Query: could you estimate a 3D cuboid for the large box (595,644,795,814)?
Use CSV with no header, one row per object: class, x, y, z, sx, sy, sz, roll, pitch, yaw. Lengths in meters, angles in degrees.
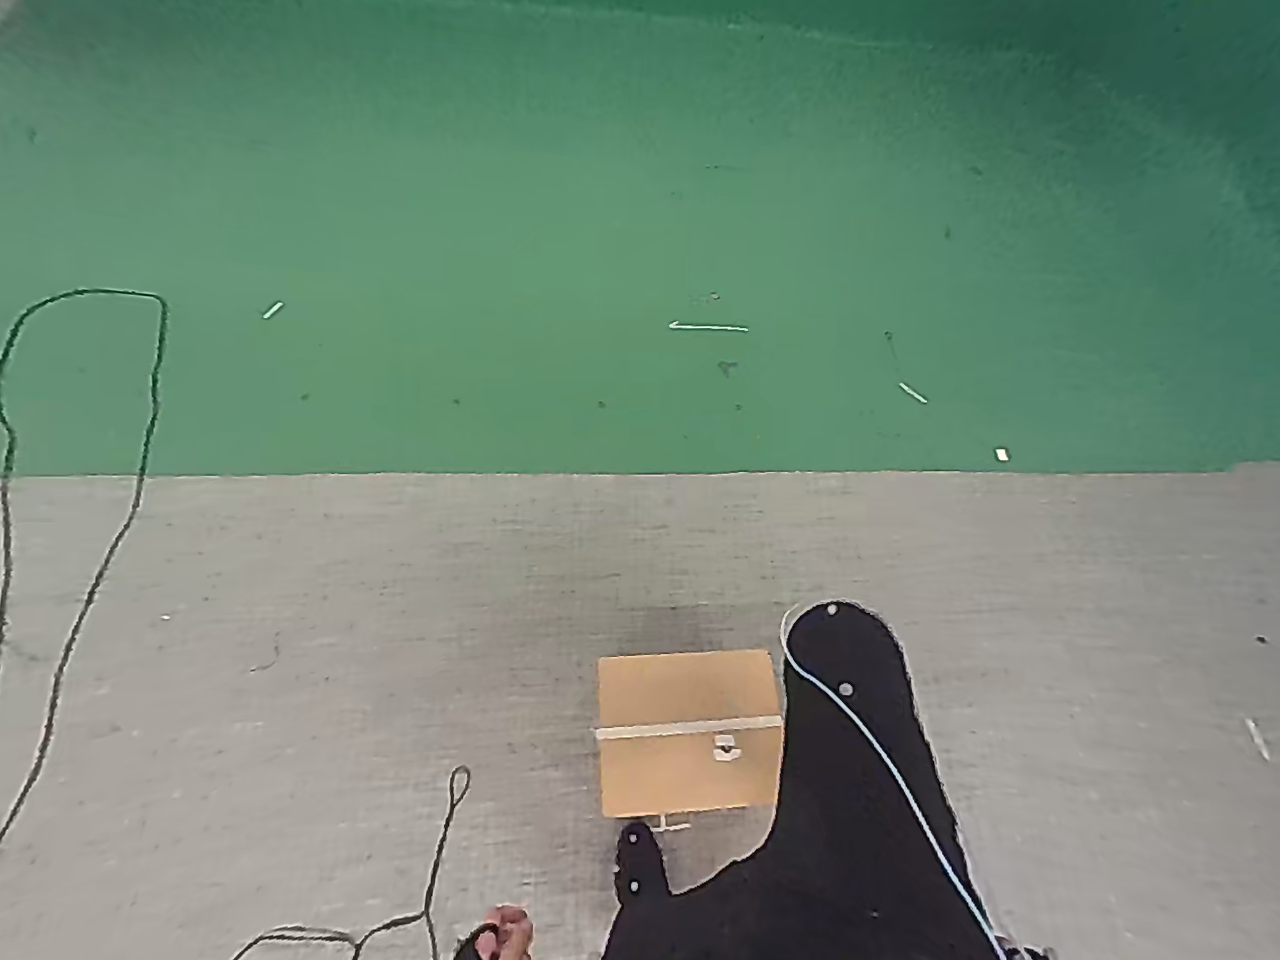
large box,0.103,0.604,1.316,0.408,0.320,0.320,-2,62,-7
